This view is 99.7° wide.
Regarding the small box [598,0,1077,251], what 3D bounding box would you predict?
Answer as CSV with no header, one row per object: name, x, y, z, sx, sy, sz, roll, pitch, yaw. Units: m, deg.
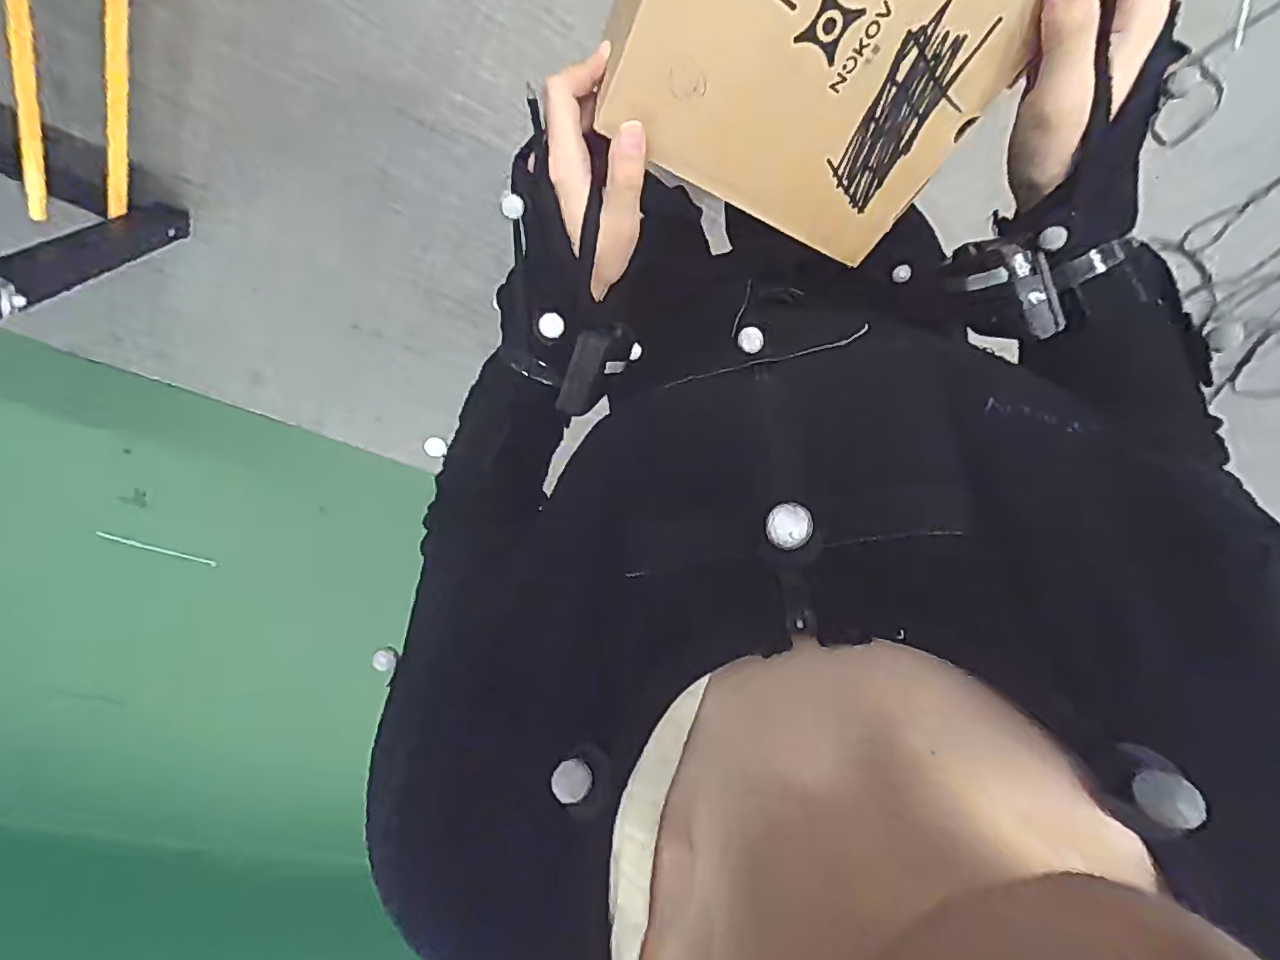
small box,0.091,-0.271,0.295,0.179,0.176,0.168,17,138,-22
